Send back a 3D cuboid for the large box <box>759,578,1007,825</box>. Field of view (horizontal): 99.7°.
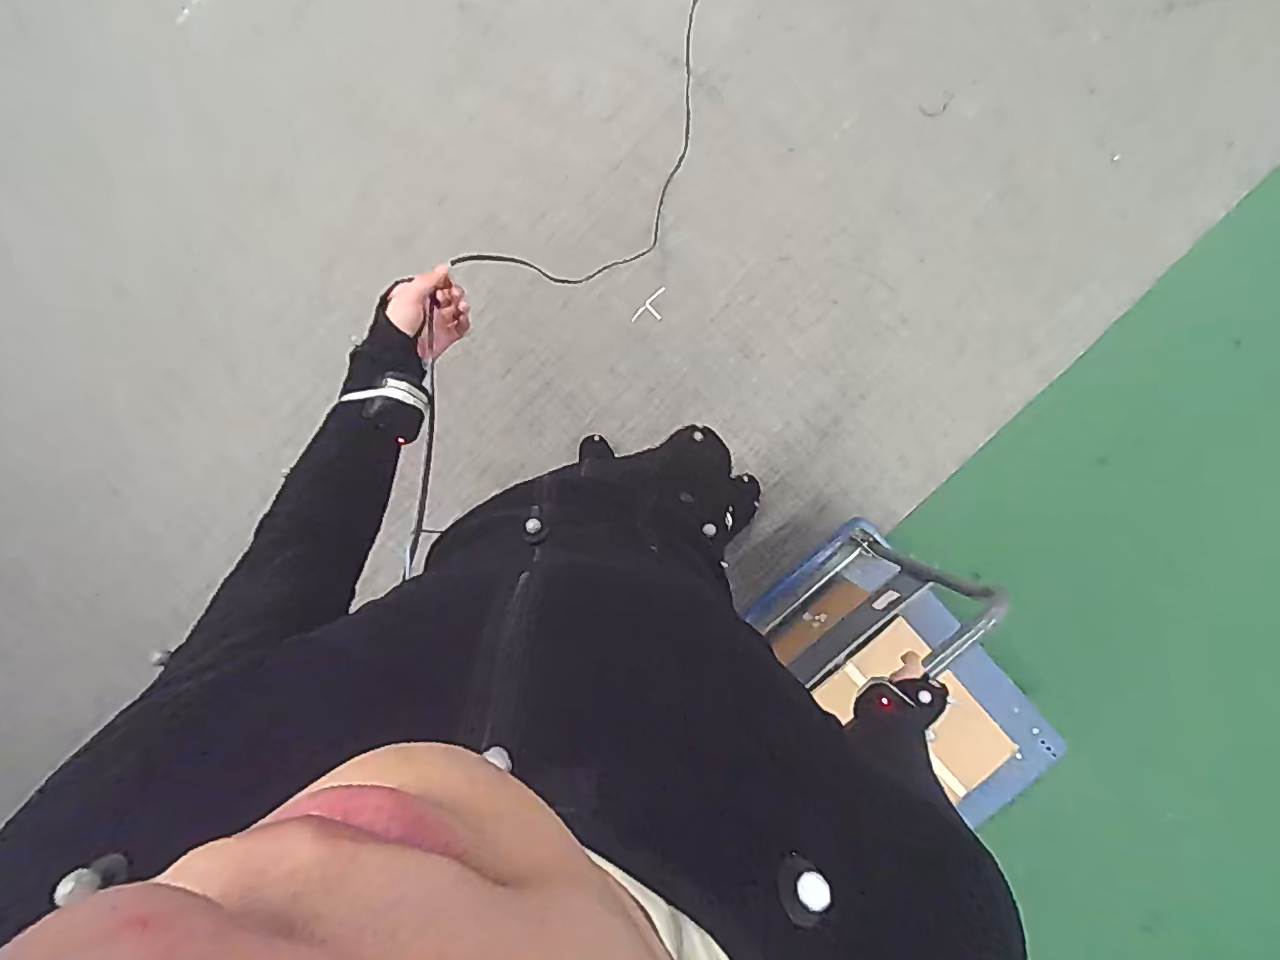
[{"bbox_3d":[0.563,0.514,1.333,0.320,0.320,0.408,-41,94,4],"label":"large box"}]
